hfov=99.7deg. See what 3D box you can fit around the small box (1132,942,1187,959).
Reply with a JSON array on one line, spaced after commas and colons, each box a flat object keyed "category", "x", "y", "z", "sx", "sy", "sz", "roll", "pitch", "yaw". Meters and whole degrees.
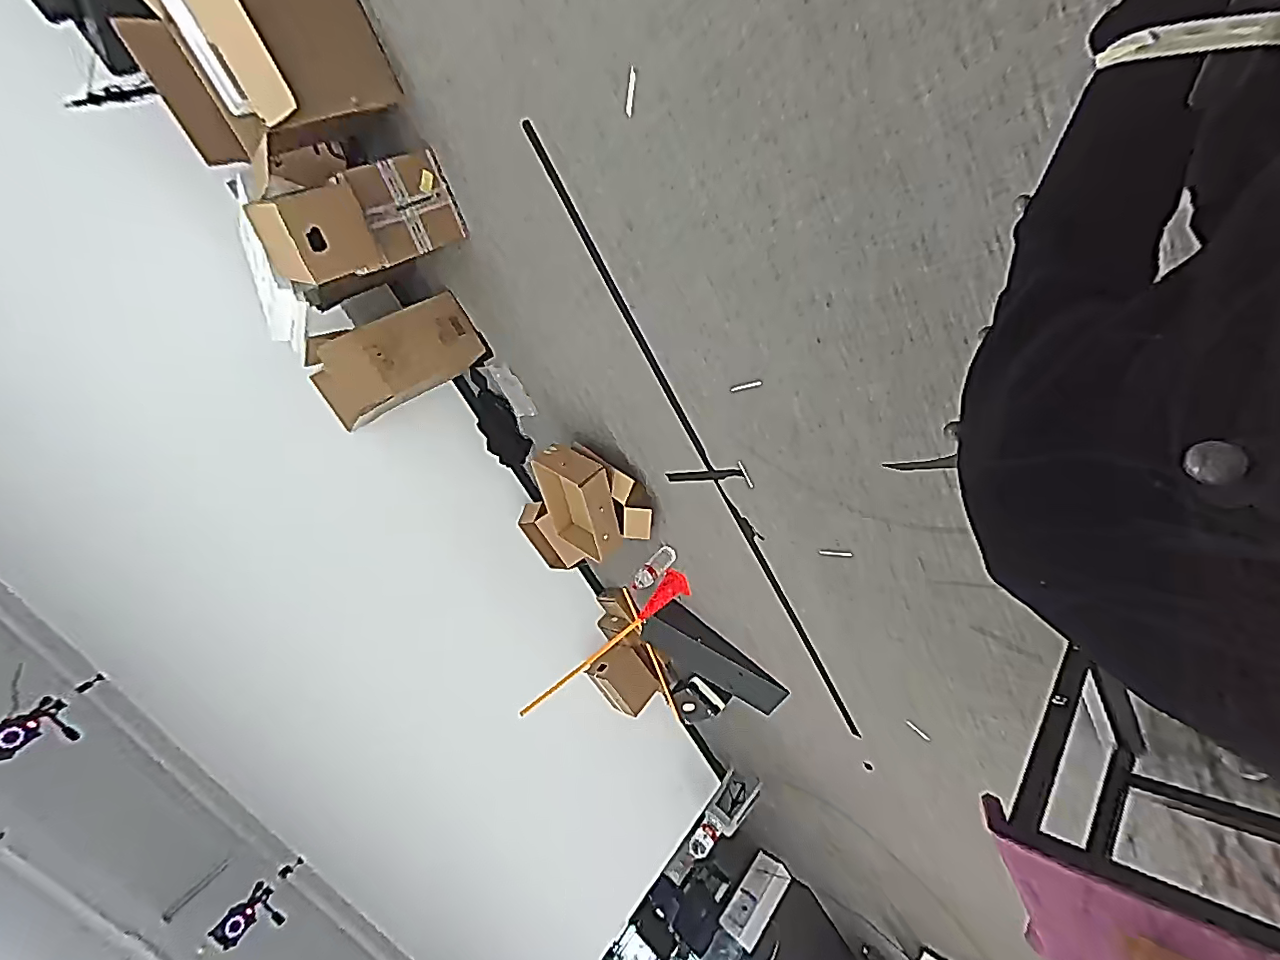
[{"category": "small box", "x": 1.132, "y": 1.113, "z": 1.114, "sx": 0.179, "sy": 0.176, "sz": 0.168, "roll": -2, "pitch": 124, "yaw": 53}]
